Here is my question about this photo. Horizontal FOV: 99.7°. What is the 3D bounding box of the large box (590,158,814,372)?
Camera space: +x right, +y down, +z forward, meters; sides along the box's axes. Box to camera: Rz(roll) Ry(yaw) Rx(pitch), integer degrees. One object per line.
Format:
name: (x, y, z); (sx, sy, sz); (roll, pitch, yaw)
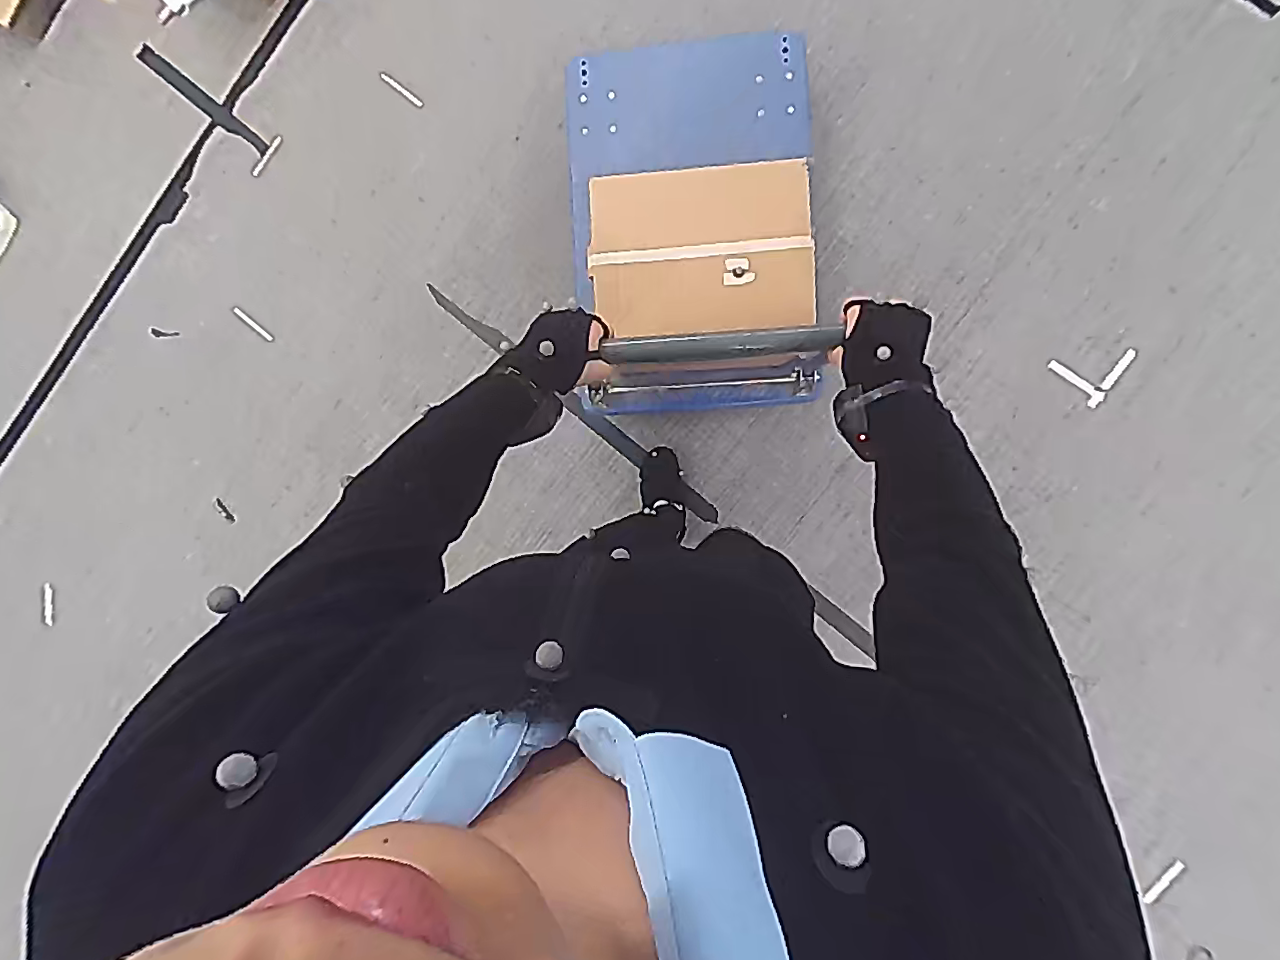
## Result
large box: (0.119, -0.424, 1.148); (0.408, 0.320, 0.320); (-3, 90, 3)
